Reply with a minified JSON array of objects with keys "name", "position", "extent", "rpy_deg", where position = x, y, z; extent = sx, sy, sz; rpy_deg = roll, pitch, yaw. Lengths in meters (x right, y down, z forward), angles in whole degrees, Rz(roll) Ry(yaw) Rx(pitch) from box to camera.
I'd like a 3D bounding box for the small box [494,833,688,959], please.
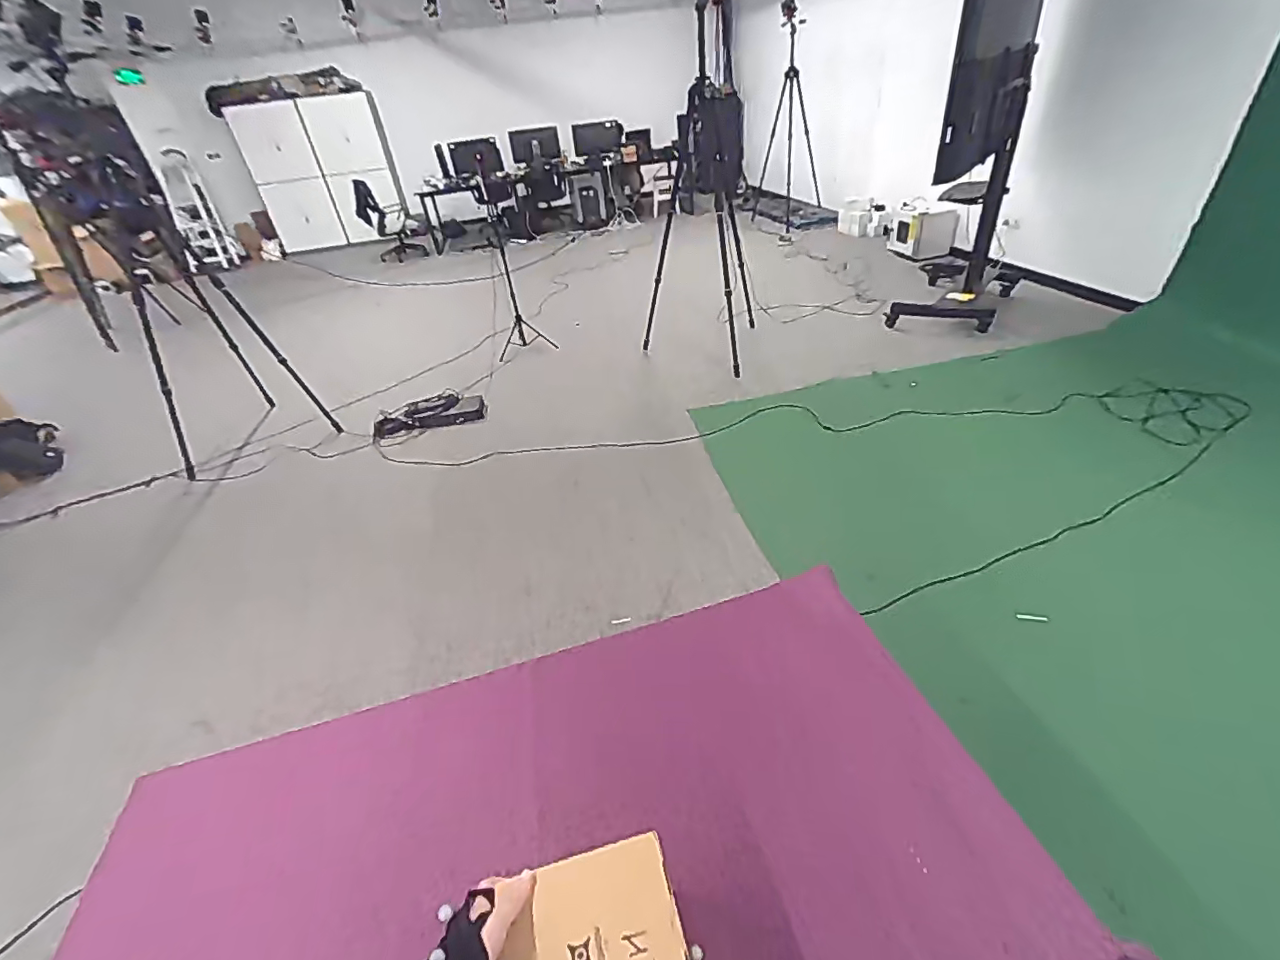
[{"name":"small box","position":[-0.039,0.504,0.548],"extent":[0.179,0.176,0.168],"rpy_deg":[-13,36,-8]}]
